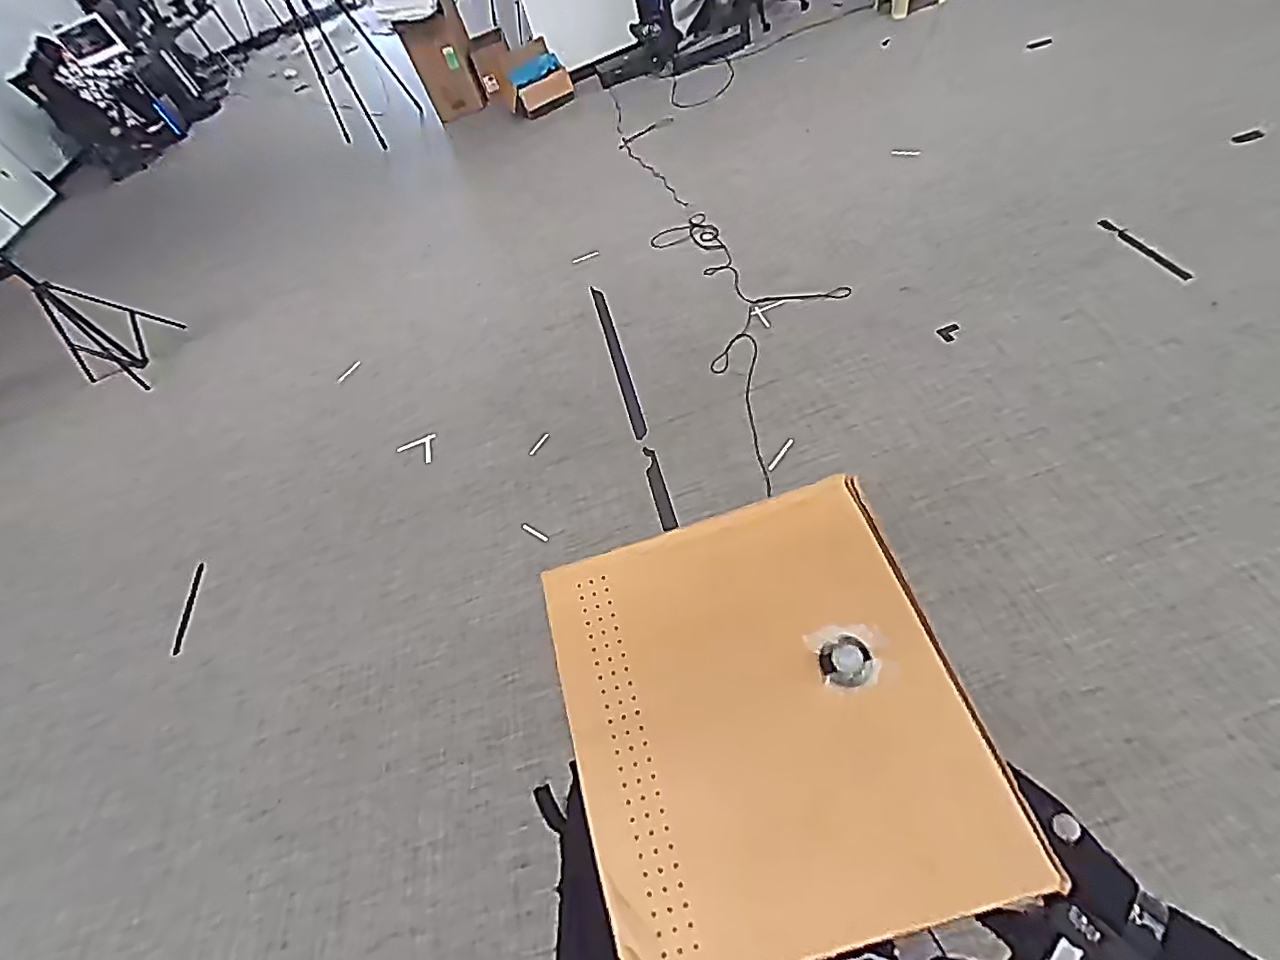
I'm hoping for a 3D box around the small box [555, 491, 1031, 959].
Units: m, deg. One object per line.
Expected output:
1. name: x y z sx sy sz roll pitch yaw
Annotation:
1. small box: 0.061 0.137 0.314 0.176 0.168 0.179 -19 62 3
